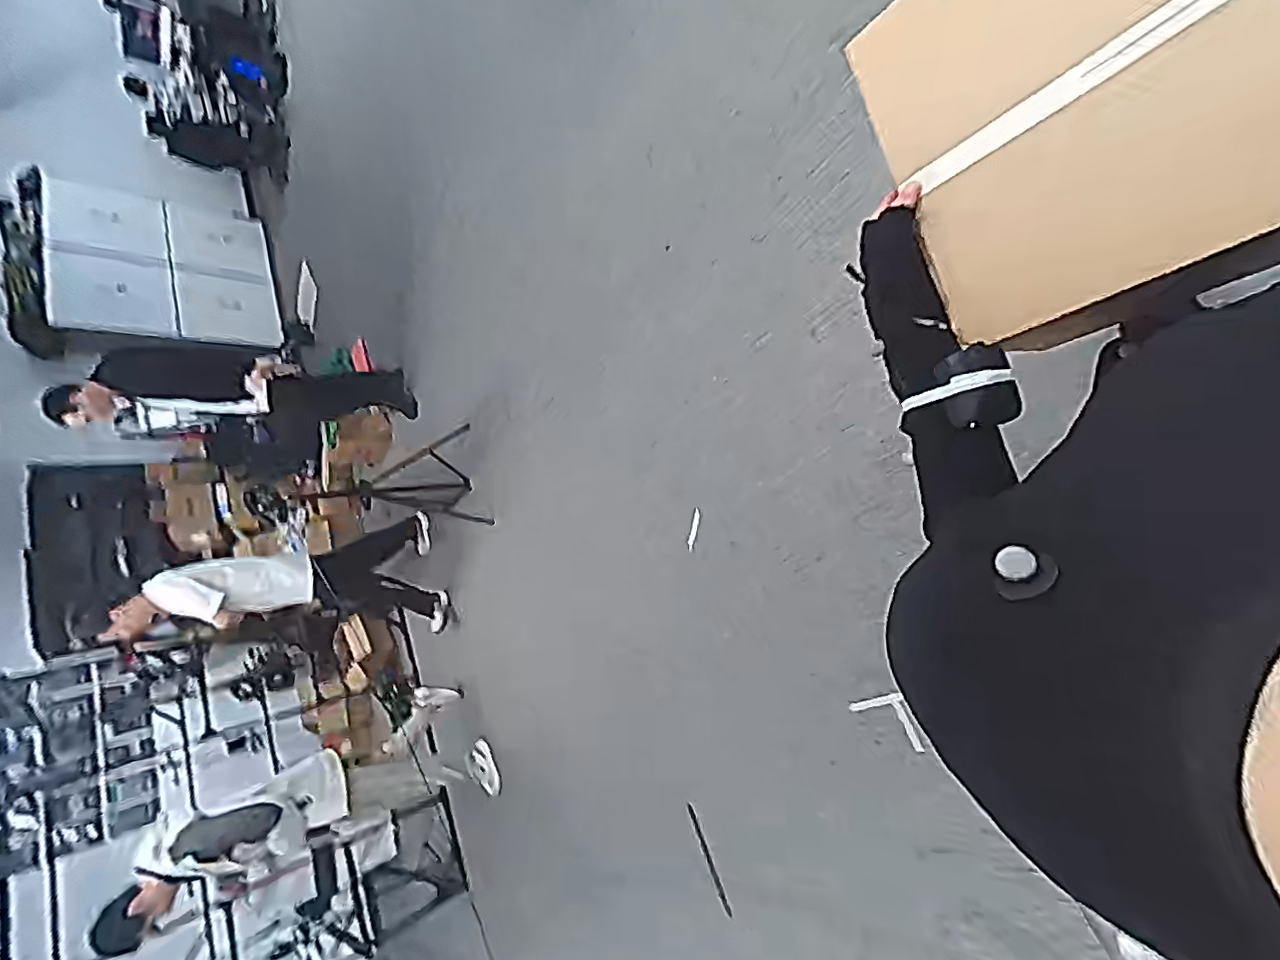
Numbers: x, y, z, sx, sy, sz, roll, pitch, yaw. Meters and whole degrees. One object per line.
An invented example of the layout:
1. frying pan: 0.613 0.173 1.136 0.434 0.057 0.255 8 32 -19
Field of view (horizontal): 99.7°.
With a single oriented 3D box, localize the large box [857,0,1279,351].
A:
1. large box: 0.479 -0.340 0.462 0.408 0.320 0.320 -23 83 45
